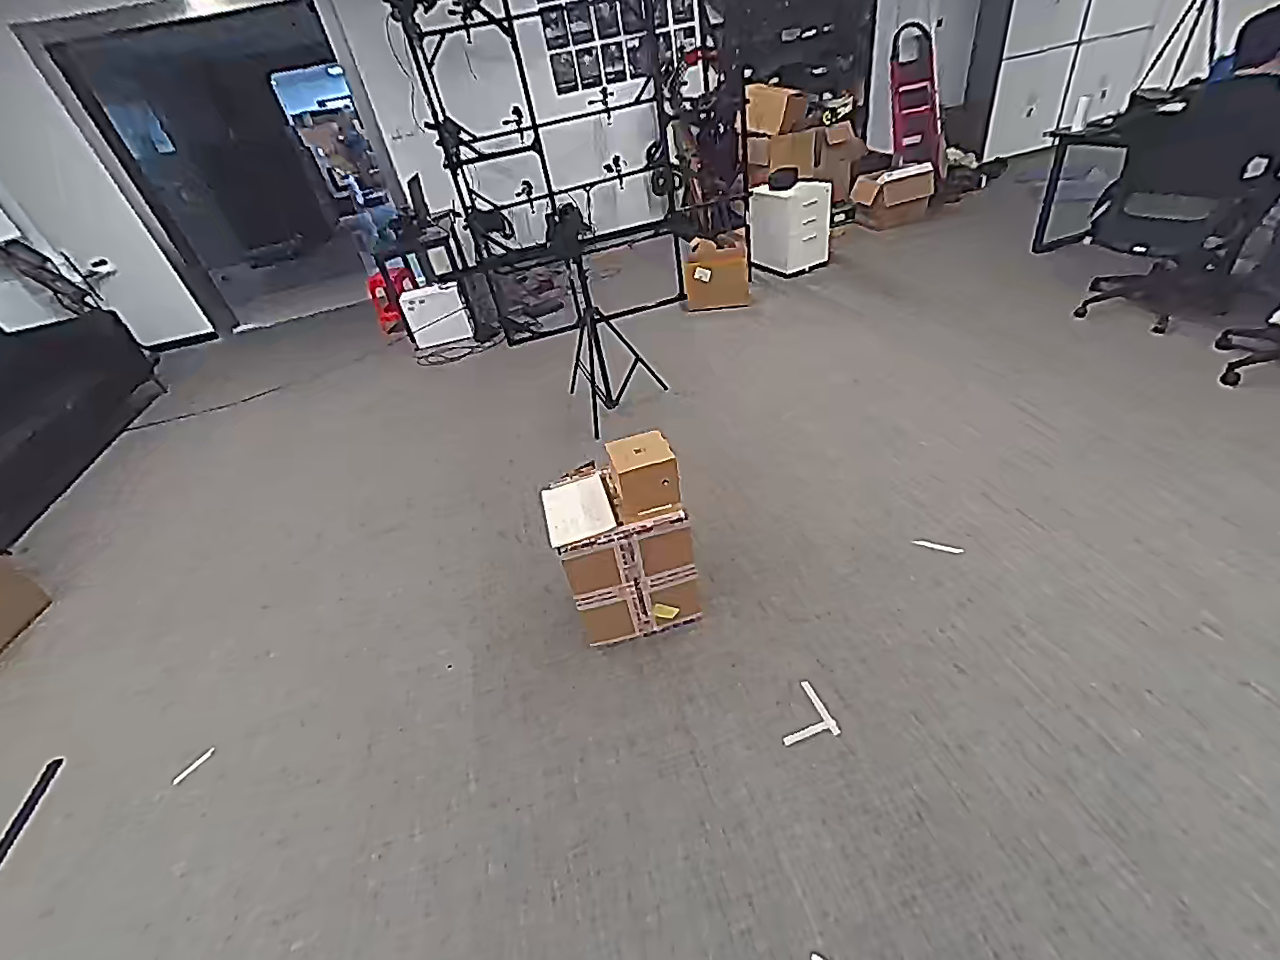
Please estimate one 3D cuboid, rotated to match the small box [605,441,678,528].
[{"bbox_3d":[0.008,0.015,1.609,0.179,0.176,0.168,-17,39,-8],"label":"small box"}]
